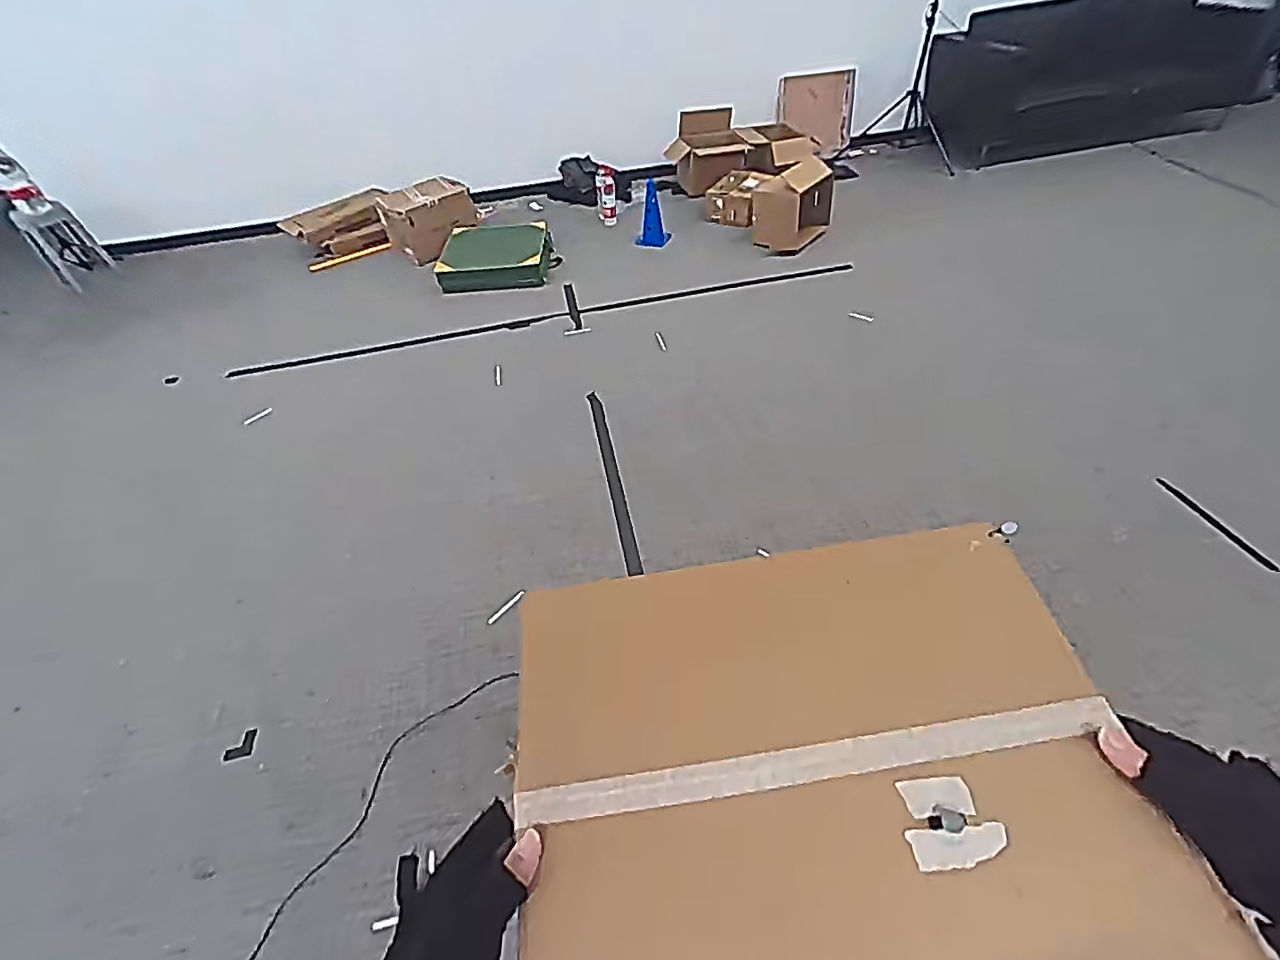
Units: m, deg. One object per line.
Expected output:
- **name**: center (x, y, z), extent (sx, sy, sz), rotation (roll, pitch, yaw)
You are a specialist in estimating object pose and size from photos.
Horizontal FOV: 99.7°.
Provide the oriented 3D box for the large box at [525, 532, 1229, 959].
- **large box**: center (0.128, 0.287, 0.499), extent (0.408, 0.320, 0.320), rotation (-9, 54, -1)
